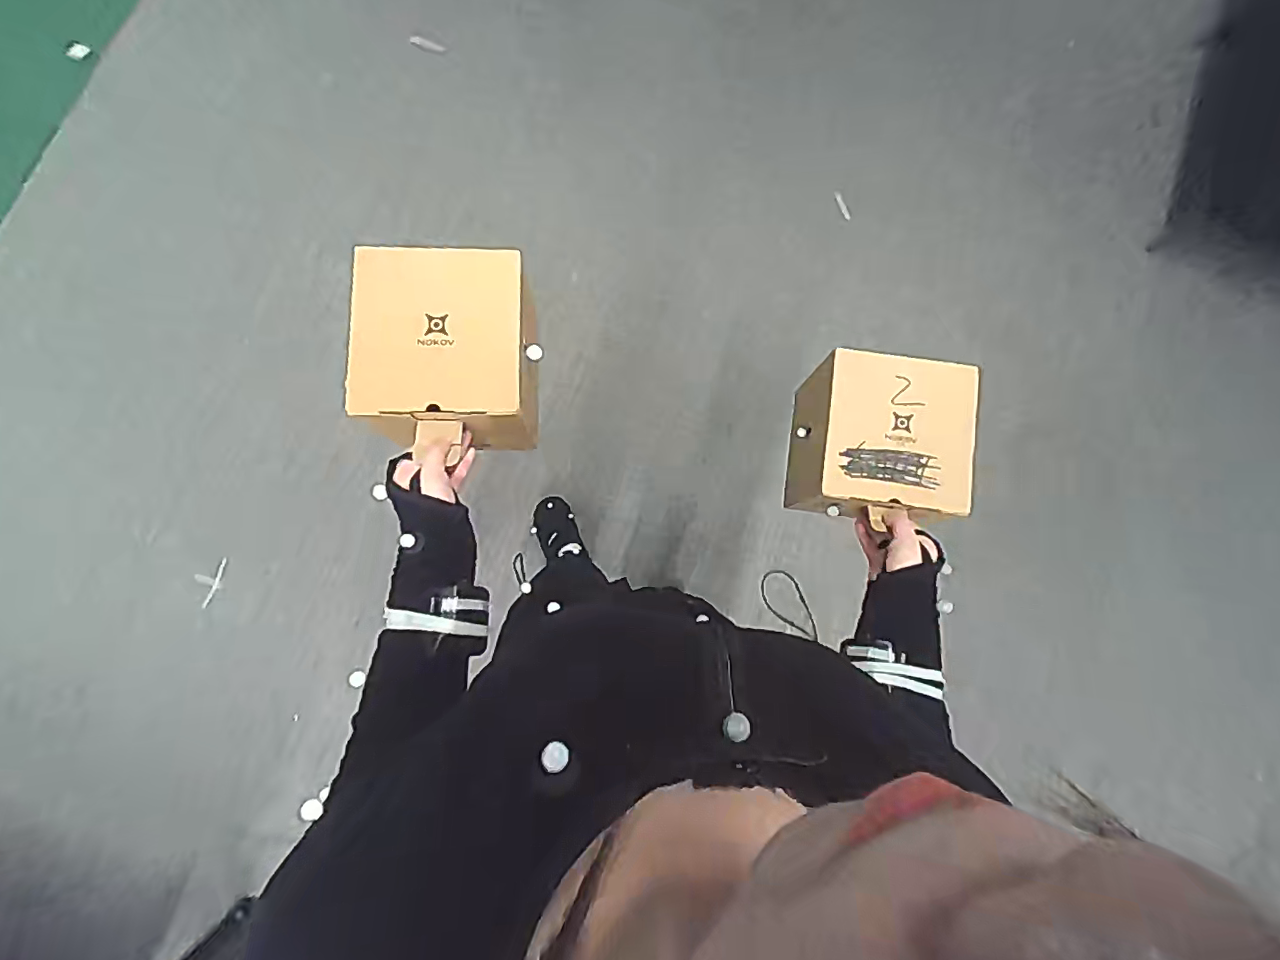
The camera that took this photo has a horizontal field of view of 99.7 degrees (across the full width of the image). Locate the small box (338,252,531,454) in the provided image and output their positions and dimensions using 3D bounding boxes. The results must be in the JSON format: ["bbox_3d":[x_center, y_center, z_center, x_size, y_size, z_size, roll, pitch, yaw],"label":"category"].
[{"bbox_3d":[-0.216,-0.131,0.612,0.168,0.176,0.179,-1,82,-5],"label":"small box"}]
